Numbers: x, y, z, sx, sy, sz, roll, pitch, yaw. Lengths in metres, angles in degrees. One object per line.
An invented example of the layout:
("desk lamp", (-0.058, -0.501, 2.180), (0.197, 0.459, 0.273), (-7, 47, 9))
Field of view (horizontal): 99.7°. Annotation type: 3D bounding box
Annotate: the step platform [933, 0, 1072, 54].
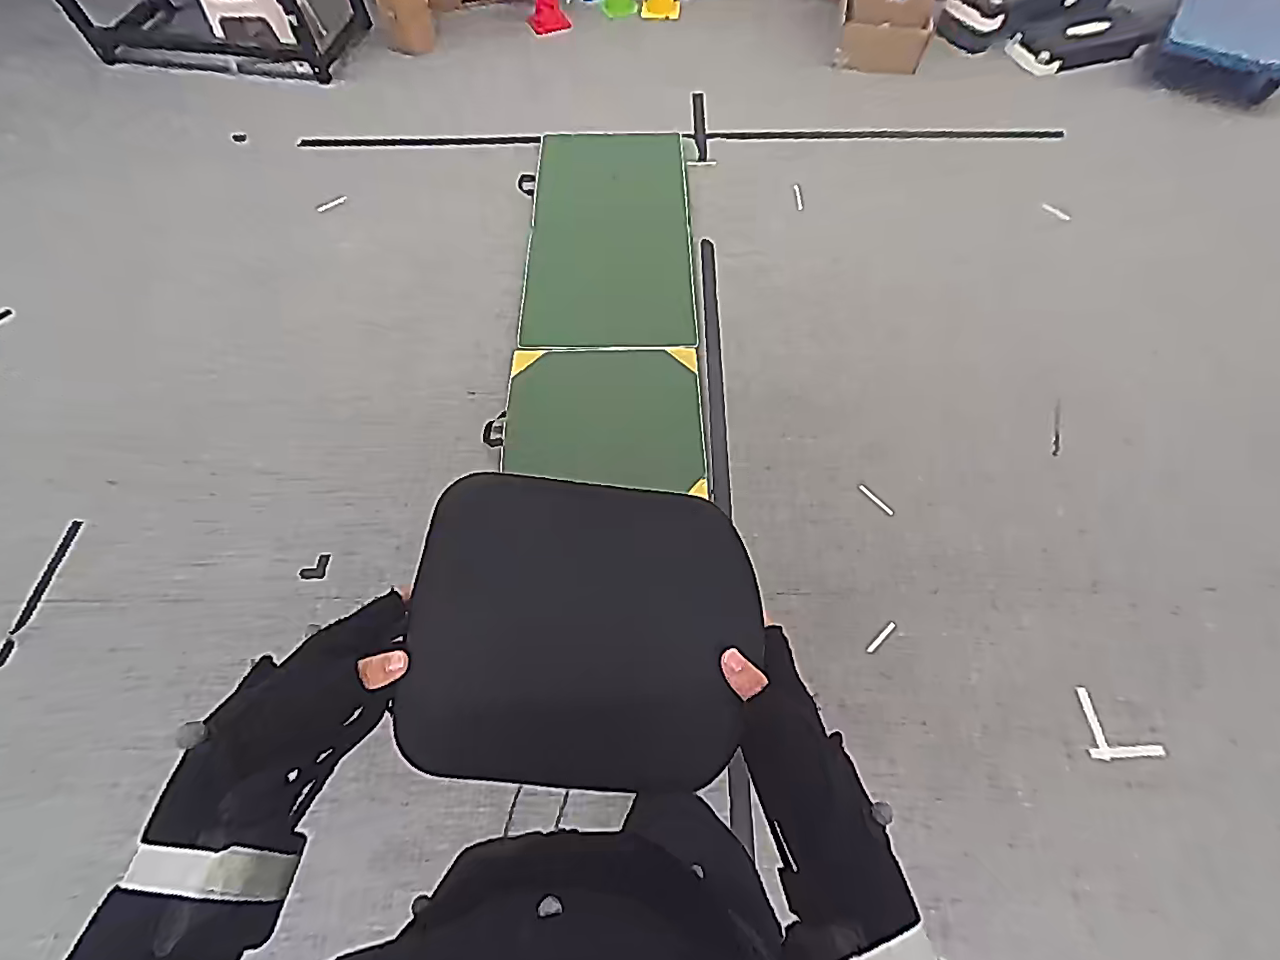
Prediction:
("step platform", (1.846, -2.387, 2.717), (0.684, 0.204, 0.286), (-27, 66, -12))
